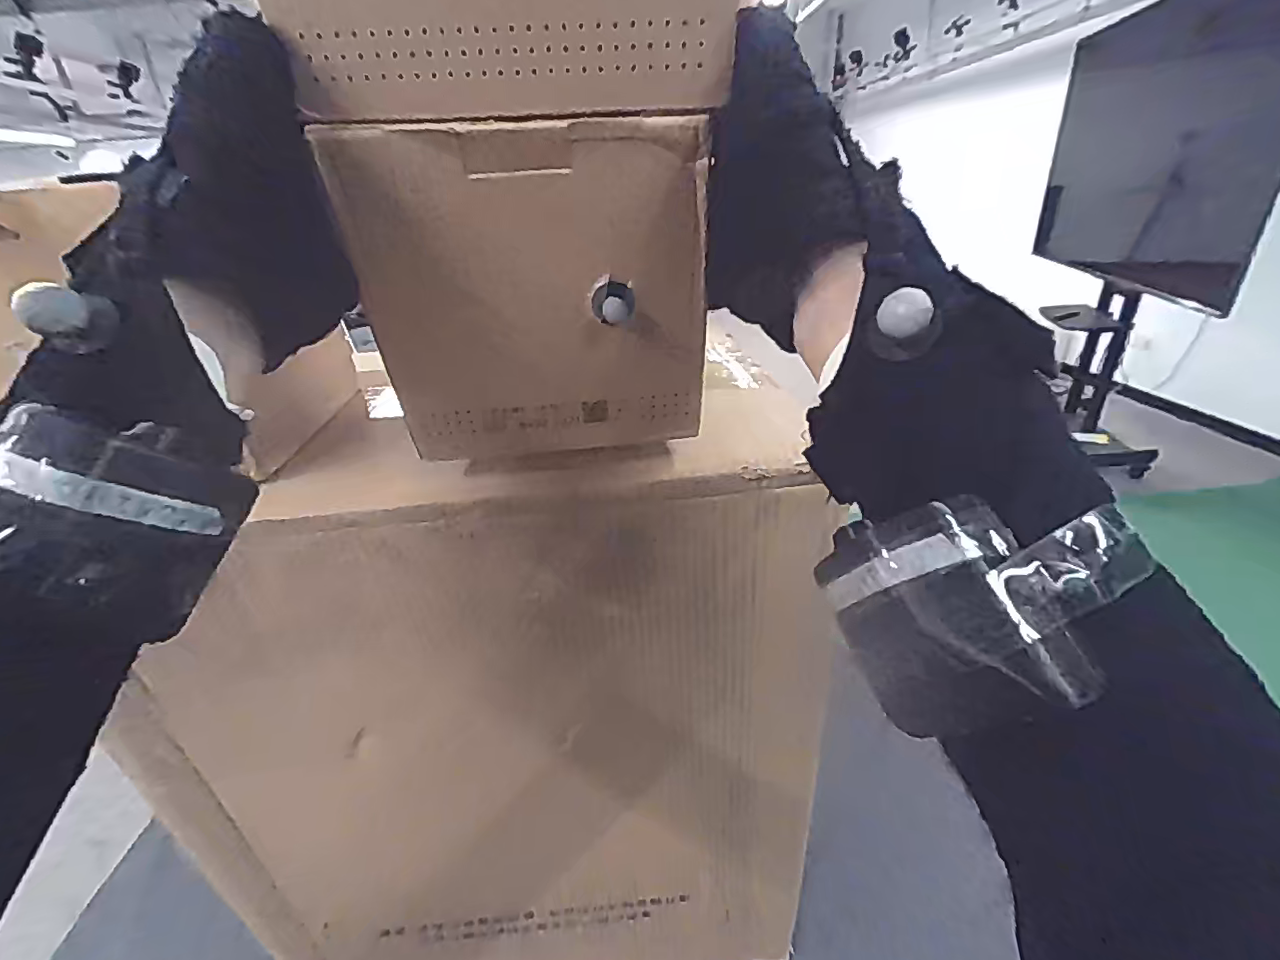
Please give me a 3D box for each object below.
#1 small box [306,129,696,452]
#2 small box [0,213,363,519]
[{"bbox_3d":[-0.061,-0.128,0.336,0.168,0.176,0.179,-4,40,-4],"label":"small box"},{"bbox_3d":[-0.326,-0.084,0.385,0.168,0.176,0.179,-8,29,-5],"label":"small box"}]
